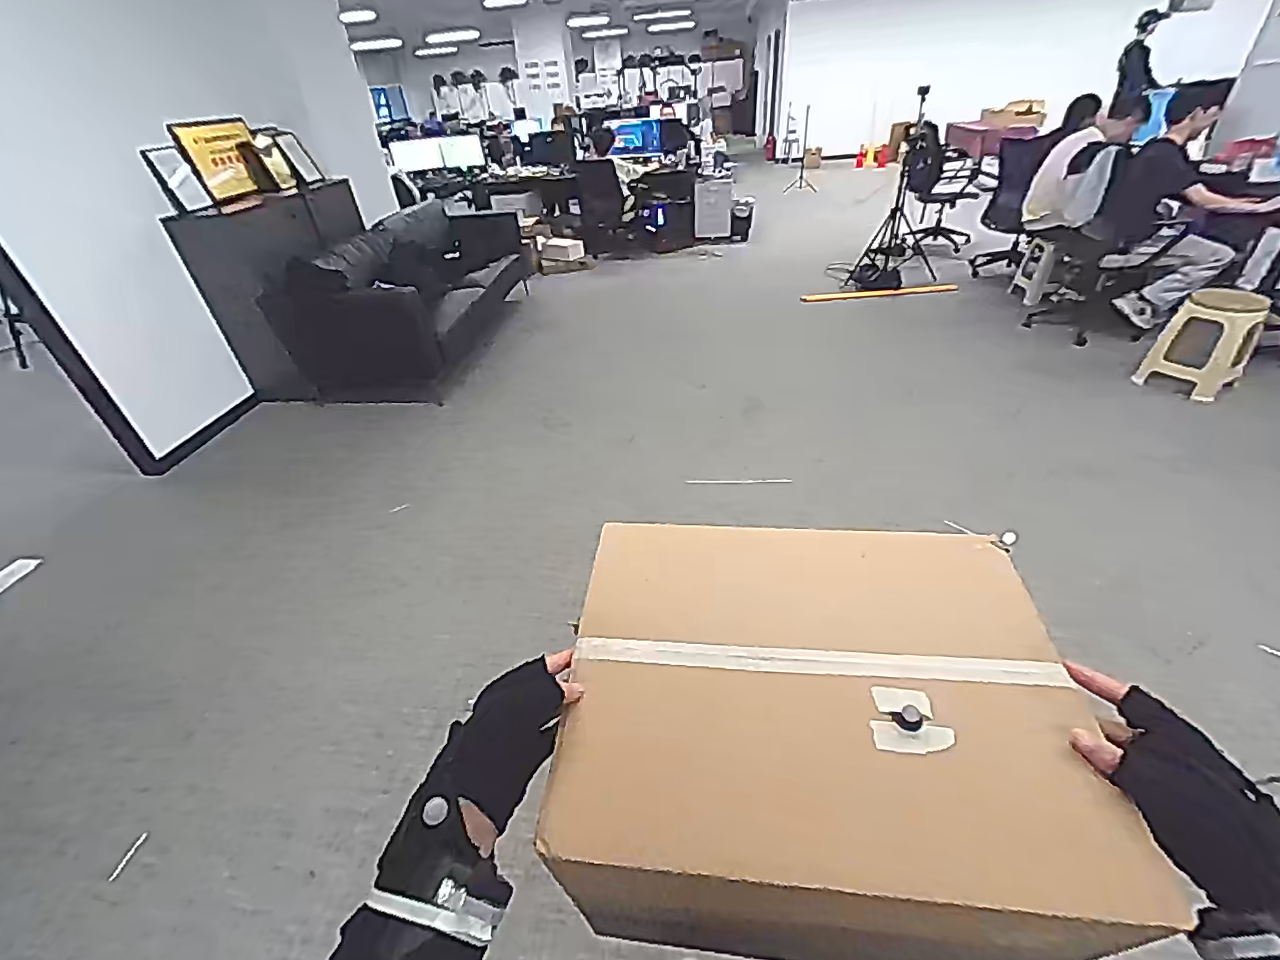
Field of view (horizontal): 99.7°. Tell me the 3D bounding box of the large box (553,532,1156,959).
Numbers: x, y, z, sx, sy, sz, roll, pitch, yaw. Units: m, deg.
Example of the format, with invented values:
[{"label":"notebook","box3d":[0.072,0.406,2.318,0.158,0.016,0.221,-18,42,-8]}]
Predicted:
[{"label":"large box","box3d":[0.155,0.271,0.571,0.408,0.320,0.320,0,43,7]}]
